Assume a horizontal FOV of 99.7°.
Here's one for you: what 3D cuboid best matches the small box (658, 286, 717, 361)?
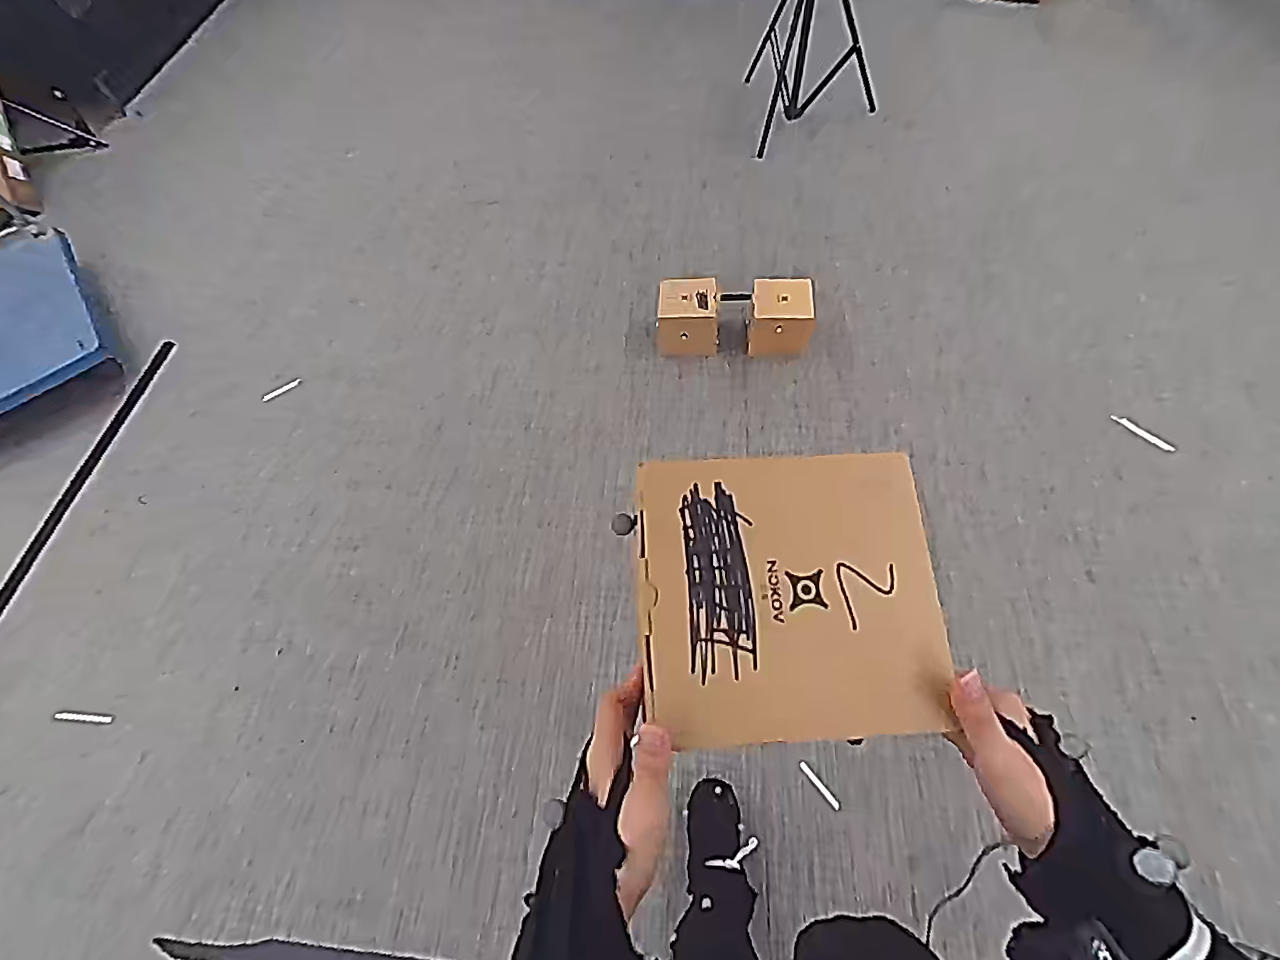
[{"bbox_3d":[0.153,-0.494,1.725,0.179,0.176,0.168,1,61,7],"label":"small box"}]

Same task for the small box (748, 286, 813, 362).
[{"bbox_3d":[0.435,-0.487,1.698,0.179,0.176,0.168,2,61,7],"label":"small box"}]
